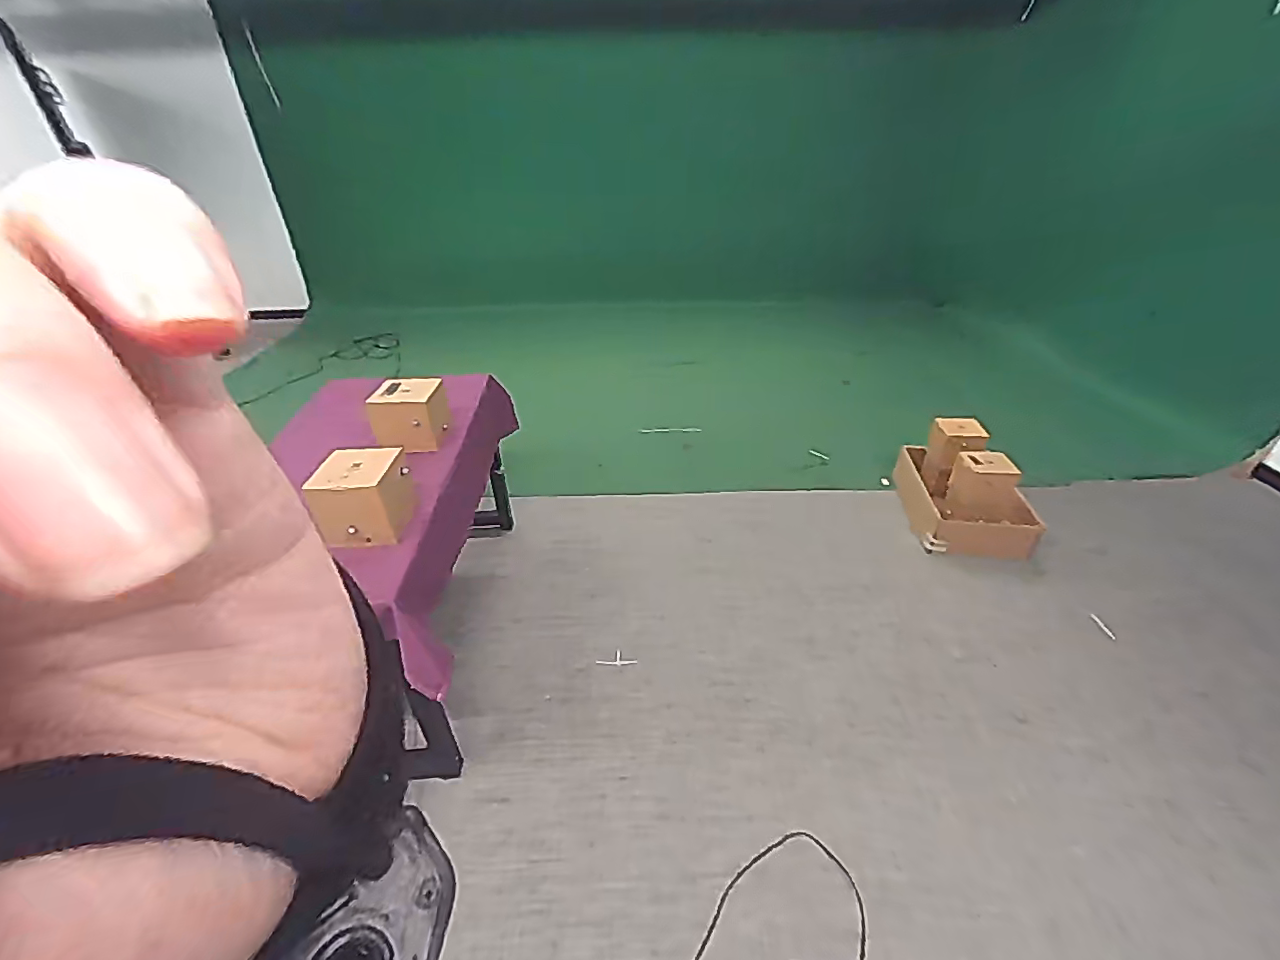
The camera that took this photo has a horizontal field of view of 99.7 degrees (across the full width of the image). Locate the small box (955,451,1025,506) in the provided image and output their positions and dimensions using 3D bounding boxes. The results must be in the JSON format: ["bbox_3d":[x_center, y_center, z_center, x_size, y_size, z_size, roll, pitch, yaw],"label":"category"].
[{"bbox_3d":[1.406,-0.005,2.193,0.179,0.176,0.168,2,33,6],"label":"small box"}]

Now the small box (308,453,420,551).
[{"bbox_3d":[-0.649,0.051,1.298,0.168,0.176,0.179,-3,33,1],"label":"small box"}]

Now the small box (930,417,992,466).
[{"bbox_3d":[1.448,-0.171,2.449,0.179,0.176,0.168,1,34,8],"label":"small box"}]
